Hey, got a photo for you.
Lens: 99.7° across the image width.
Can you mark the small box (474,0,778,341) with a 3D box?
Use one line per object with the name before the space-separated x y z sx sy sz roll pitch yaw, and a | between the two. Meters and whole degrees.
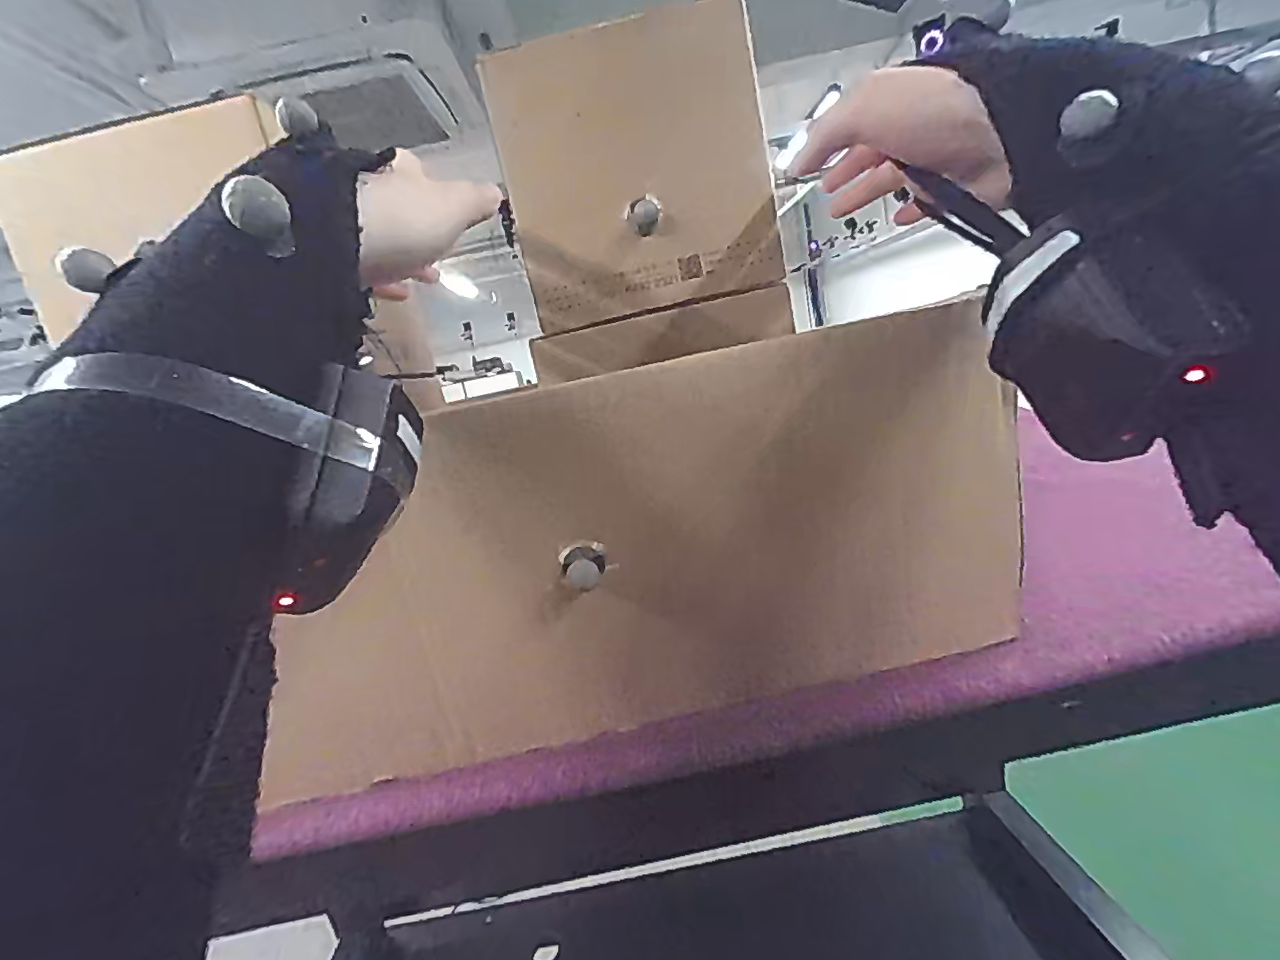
small box | -0.004 -0.208 0.419 0.168 0.176 0.179 -13 12 3
